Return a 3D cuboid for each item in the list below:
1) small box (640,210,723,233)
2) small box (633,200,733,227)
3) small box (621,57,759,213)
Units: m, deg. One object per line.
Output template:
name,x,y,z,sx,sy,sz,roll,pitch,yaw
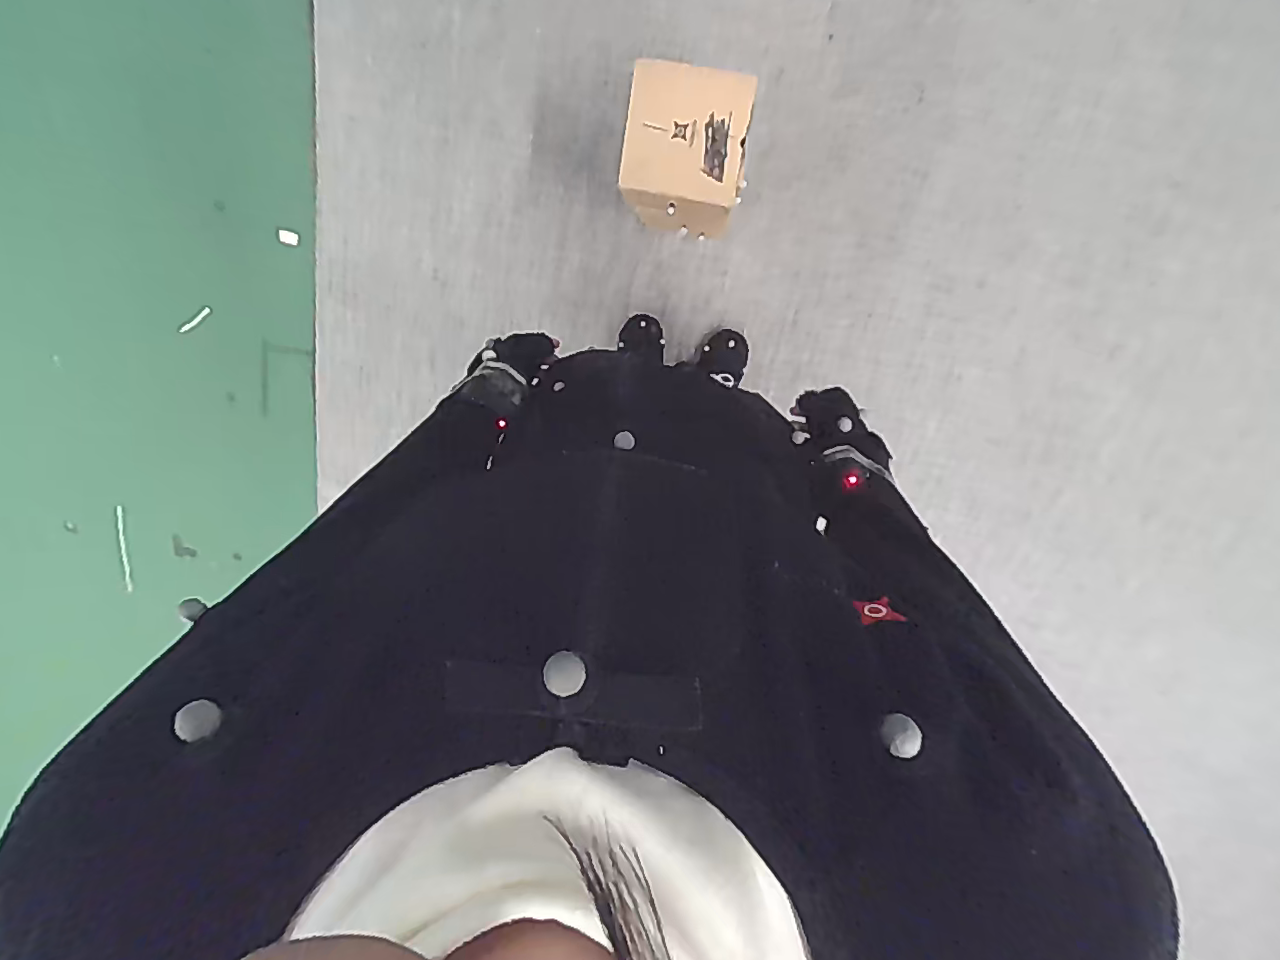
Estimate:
small box,0.107,-0.635,1.153,0.179,0.176,0.168,12,109,4
small box,0.095,-0.576,1.001,0.179,0.176,0.168,11,110,2
small box,0.074,-0.524,0.846,0.179,0.176,0.168,9,110,2
